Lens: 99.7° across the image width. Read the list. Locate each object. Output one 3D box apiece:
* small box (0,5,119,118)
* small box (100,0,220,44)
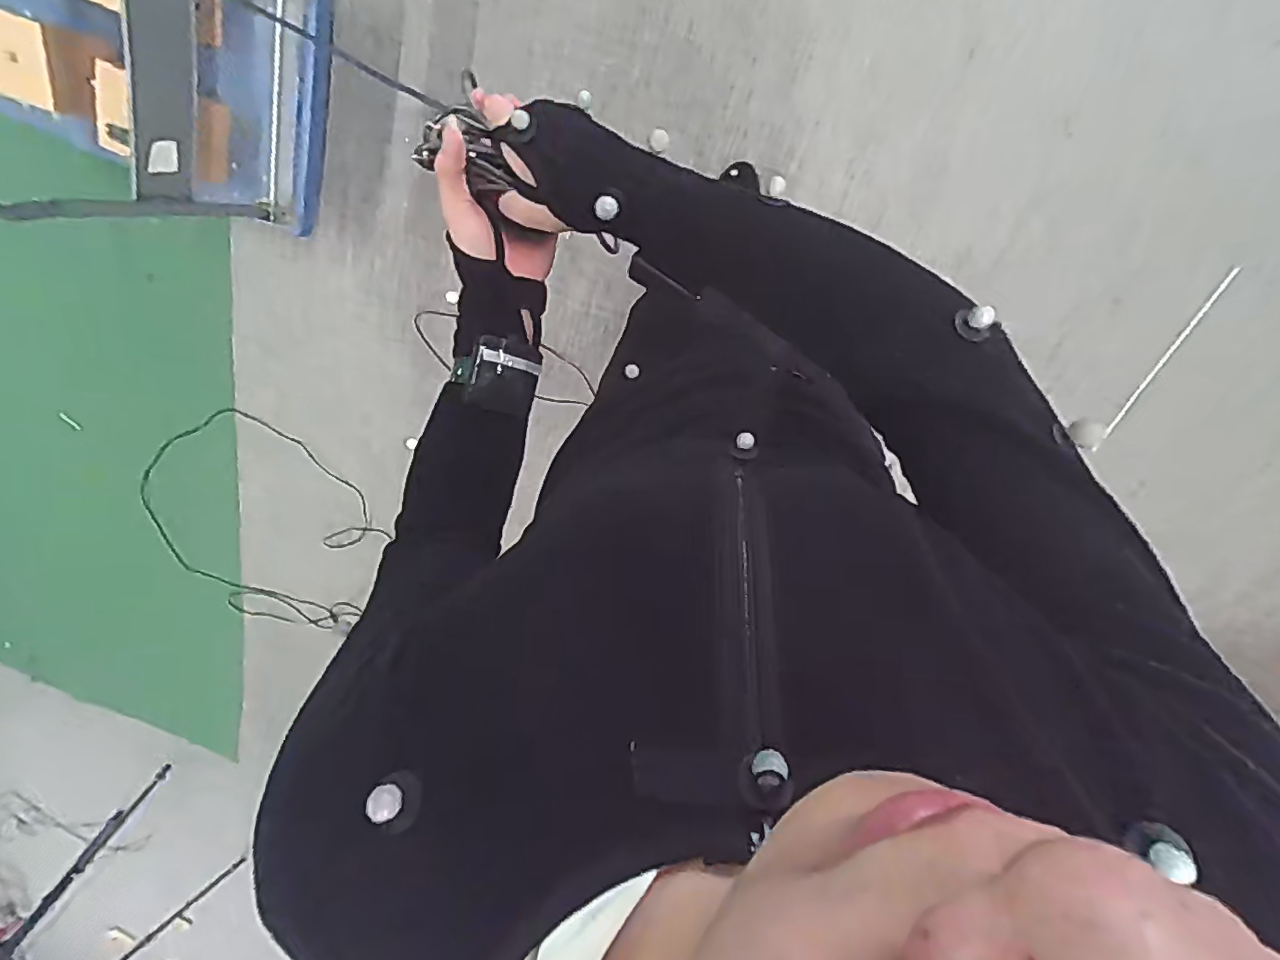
[{"bbox_3d":[-1.346,-0.952,1.232,0.179,0.176,0.168,20,116,0],"label":"small box"},{"bbox_3d":[-1.026,-1.055,1.126,0.179,0.176,0.168,24,117,-3],"label":"small box"}]
